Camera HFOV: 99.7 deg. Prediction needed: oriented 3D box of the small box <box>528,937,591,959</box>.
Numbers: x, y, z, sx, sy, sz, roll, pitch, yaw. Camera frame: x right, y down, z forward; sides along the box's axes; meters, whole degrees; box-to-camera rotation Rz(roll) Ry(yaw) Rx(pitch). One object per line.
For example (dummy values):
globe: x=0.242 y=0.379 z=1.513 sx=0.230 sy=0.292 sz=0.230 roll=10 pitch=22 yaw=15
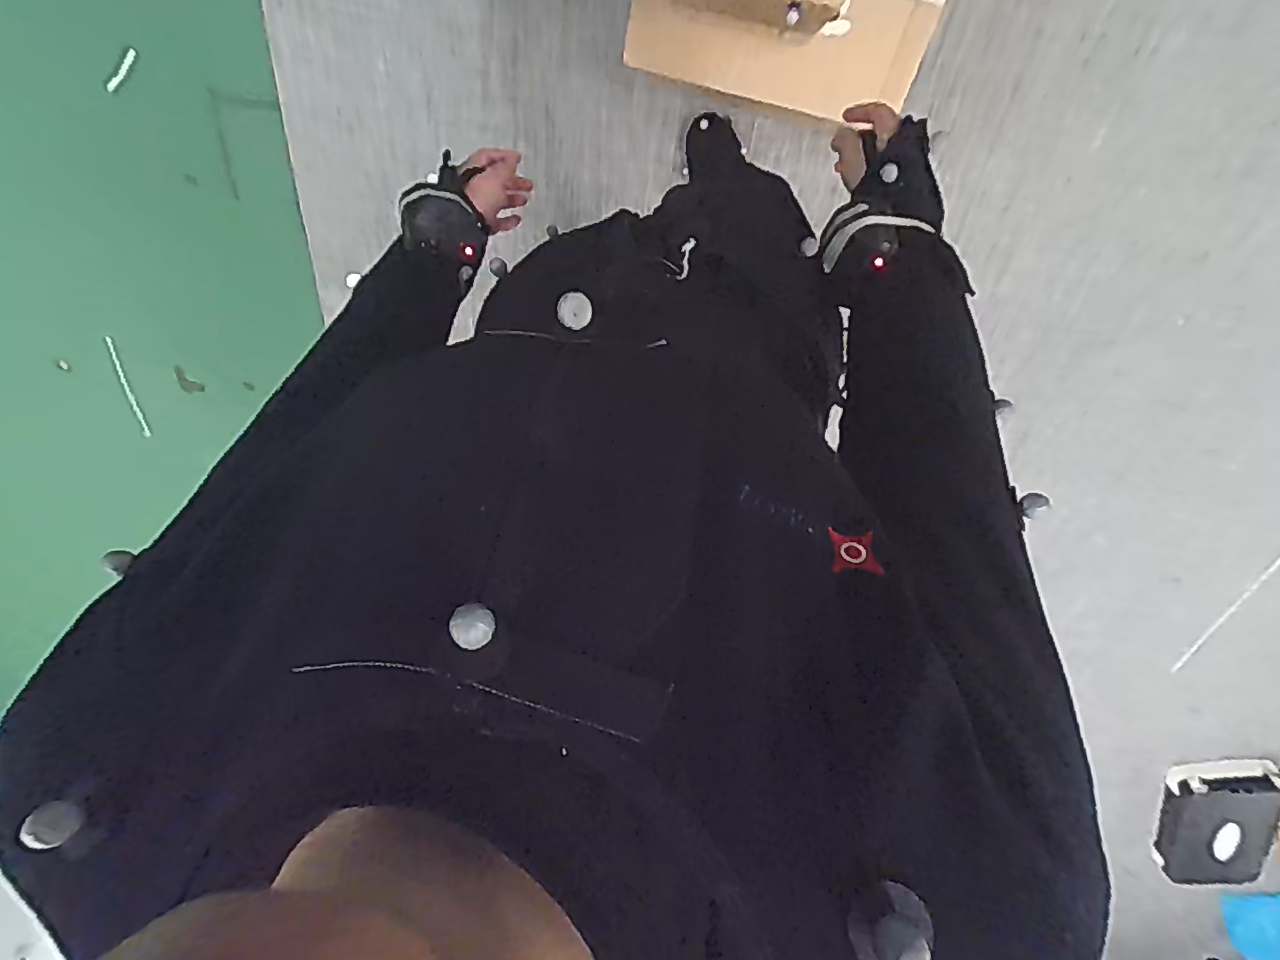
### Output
small box: x=-0.229 y=1.358 z=1.439 sx=0.168 sy=0.176 sz=0.179 roll=11 pitch=124 yaw=3

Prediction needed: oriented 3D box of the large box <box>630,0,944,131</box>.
large box: x=0.218 y=-0.754 z=0.820 sx=0.408 sy=0.320 sz=0.320 roll=13 pitch=124 yaw=-2

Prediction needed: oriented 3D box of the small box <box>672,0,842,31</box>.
small box: x=0.116 y=-0.534 z=0.487 sx=0.179 sy=0.176 sz=0.168 roll=12 pitch=123 yaw=-1
